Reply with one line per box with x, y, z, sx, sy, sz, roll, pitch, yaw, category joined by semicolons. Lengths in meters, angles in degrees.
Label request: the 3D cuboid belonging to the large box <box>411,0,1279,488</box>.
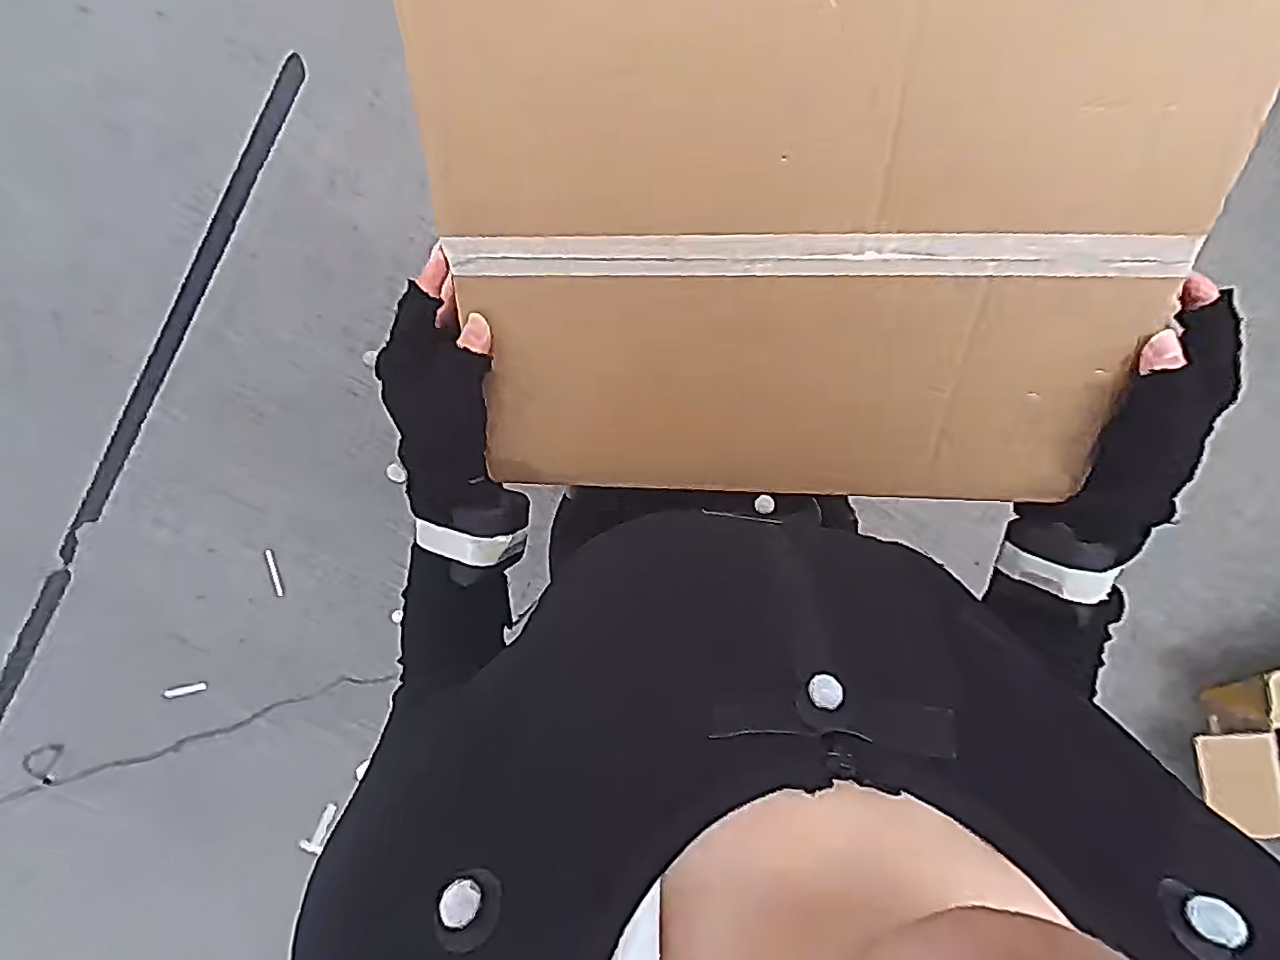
0.097;-0.206;0.436;0.408;0.320;0.320;2;123;4;large box
